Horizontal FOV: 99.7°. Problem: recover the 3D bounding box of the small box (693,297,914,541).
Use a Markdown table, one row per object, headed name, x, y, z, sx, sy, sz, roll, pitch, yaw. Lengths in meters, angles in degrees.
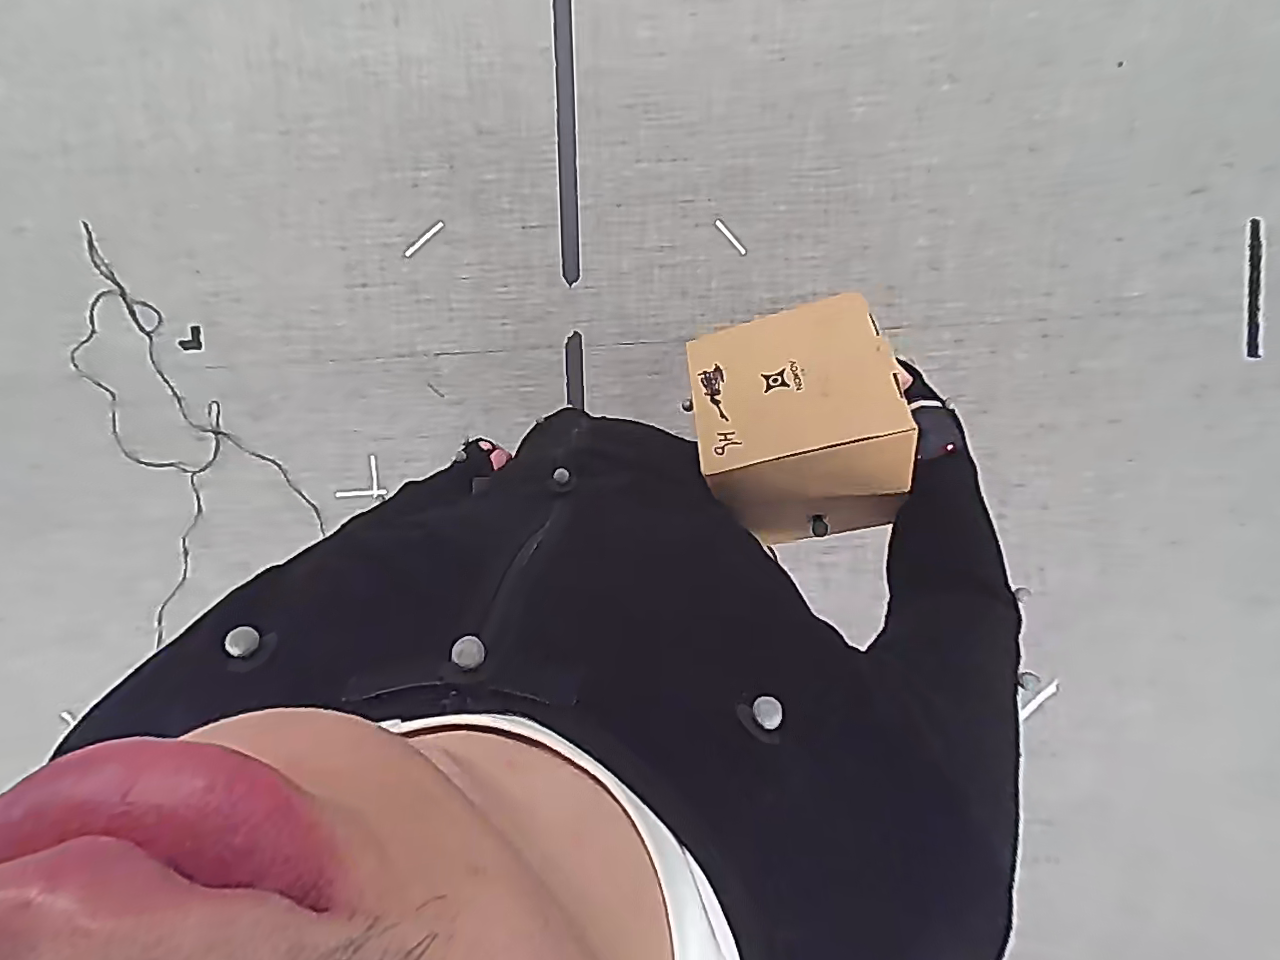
| name | x | y | z | sx | sy | sz | roll | pitch | yaw |
| --- | --- | --- | --- | --- | --- | --- | --- | --- | --- |
| small box | 0.165 | -0.053 | 0.566 | 0.179 | 0.176 | 0.168 | -12 | 55 | 15 |
